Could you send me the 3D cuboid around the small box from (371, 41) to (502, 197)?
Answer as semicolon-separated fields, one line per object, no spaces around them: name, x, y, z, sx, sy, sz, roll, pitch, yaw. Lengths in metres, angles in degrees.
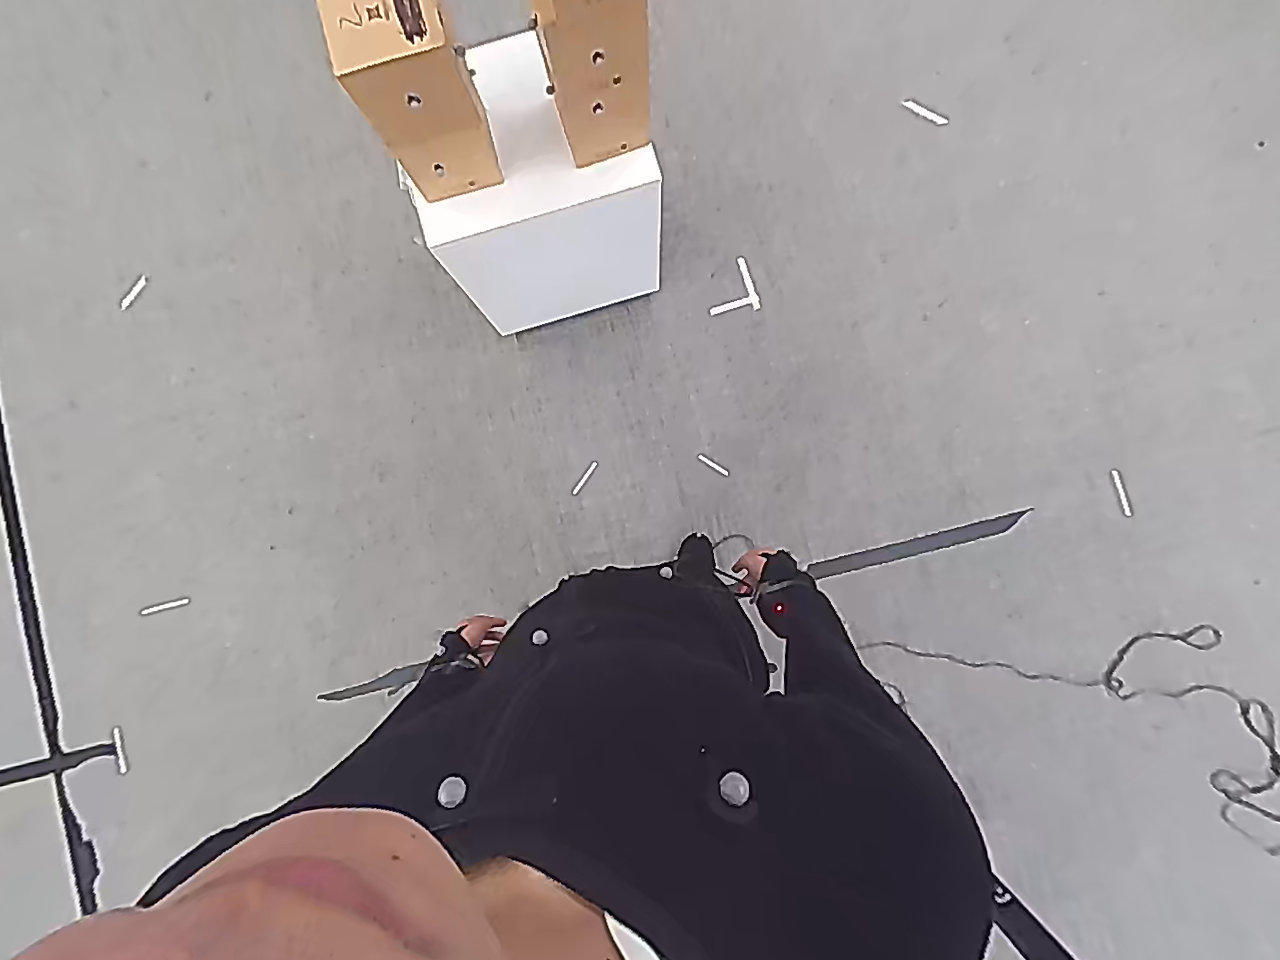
small box;-0.381;-0.679;1.043;0.168;0.176;0.179;-15;85;0

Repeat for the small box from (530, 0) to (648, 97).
small box;-0.088;-0.763;0.871;0.168;0.176;0.179;-17;86;1

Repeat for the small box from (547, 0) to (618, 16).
small box;-0.076;-0.766;0.708;0.168;0.176;0.179;-22;86;0

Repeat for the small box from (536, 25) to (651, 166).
small box;-0.081;-0.752;1.036;0.168;0.176;0.179;-18;86;2
